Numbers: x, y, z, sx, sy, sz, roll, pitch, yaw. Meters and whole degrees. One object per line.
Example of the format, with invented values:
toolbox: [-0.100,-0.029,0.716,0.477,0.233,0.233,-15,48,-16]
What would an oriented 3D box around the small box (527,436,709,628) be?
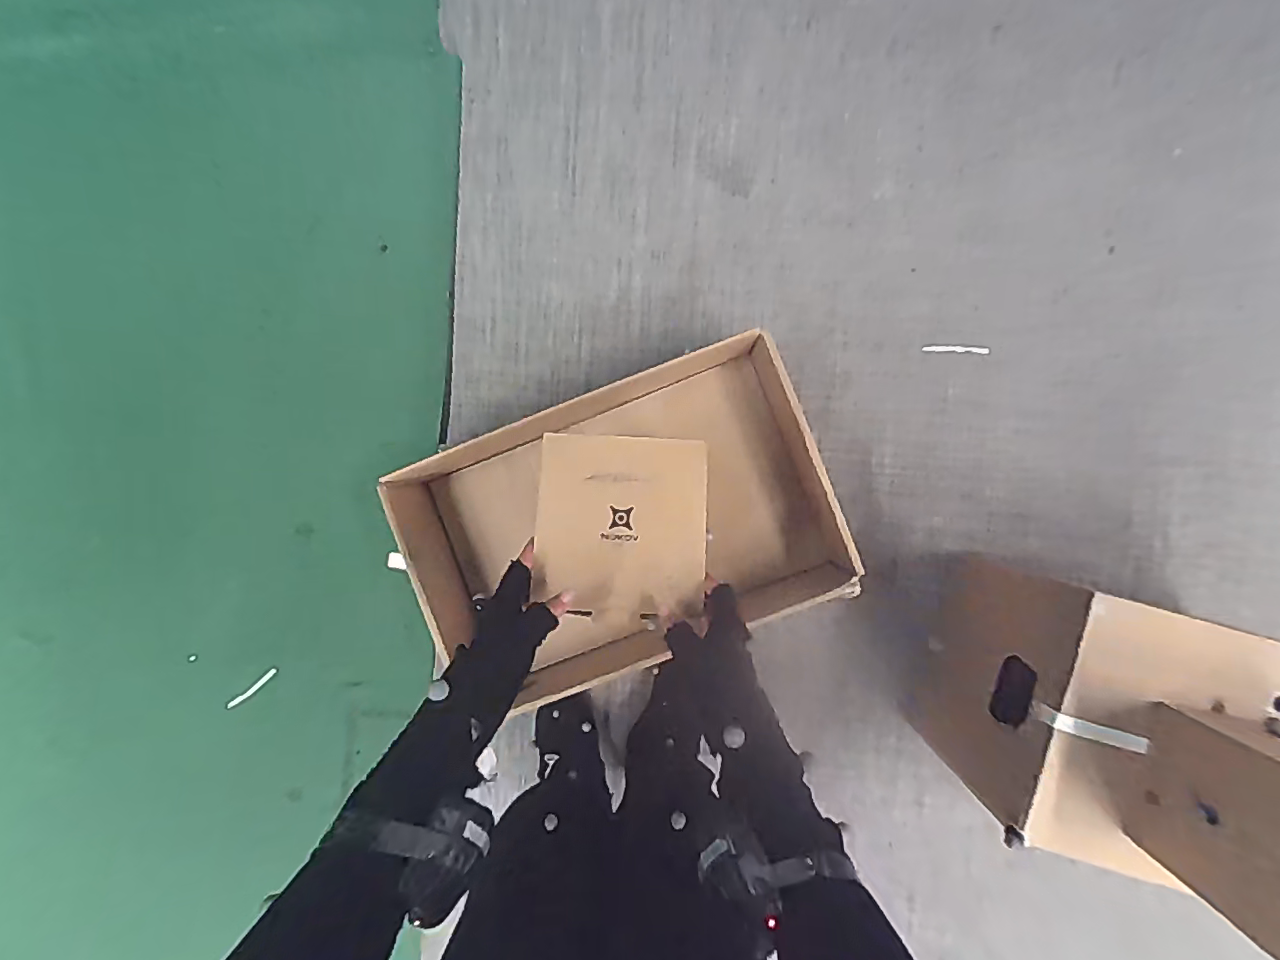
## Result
small box: [-0.019,0.063,0.590,0.168,0.176,0.179,3,77,0]

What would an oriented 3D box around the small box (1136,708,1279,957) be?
small box: [0.653,0.348,0.532,0.179,0.176,0.168,10,92,4]
